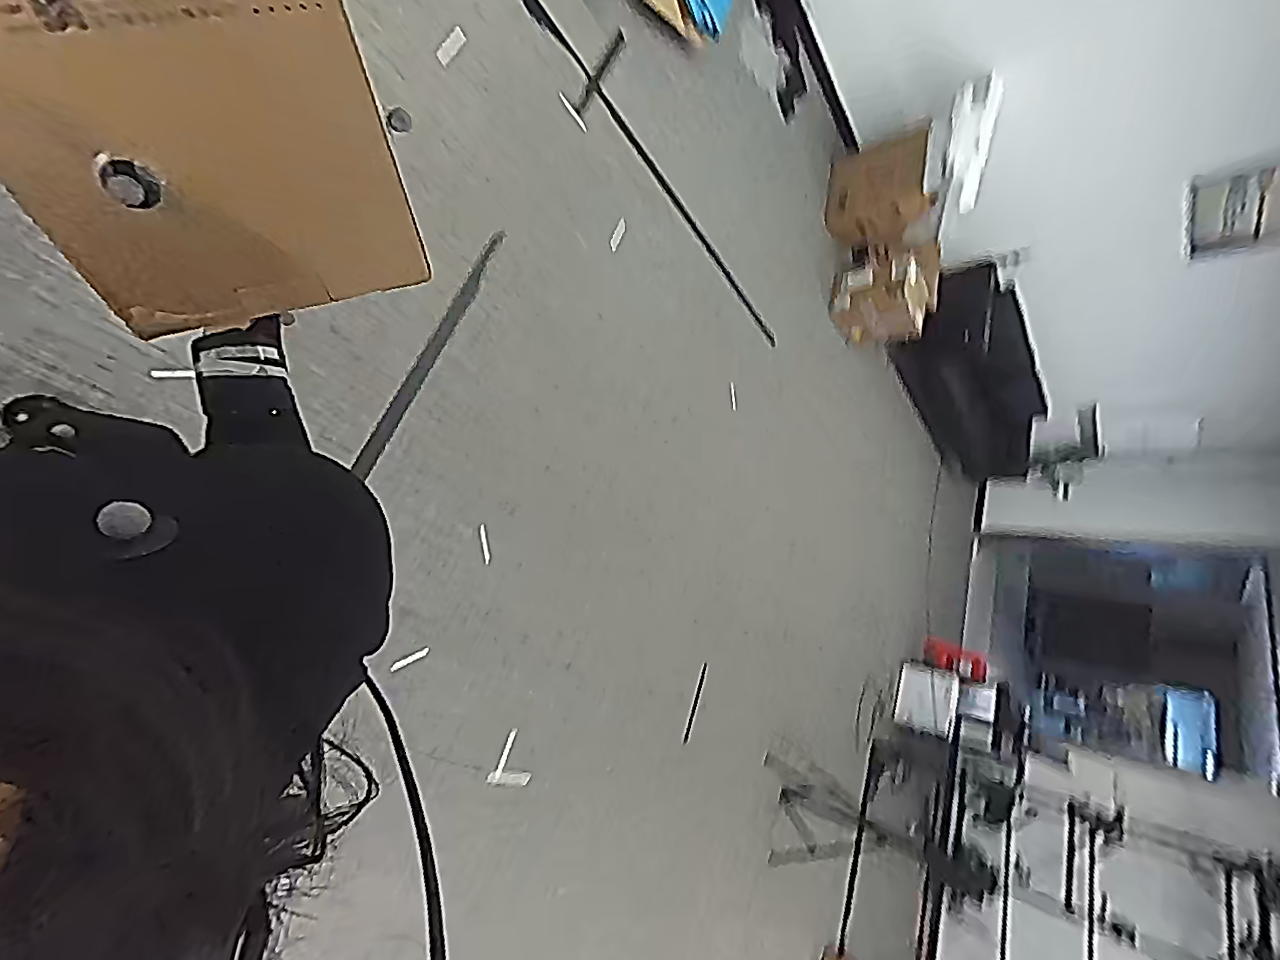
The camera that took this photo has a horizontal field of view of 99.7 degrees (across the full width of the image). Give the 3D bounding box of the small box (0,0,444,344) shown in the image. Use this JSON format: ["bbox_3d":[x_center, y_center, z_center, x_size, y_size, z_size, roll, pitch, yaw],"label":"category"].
[{"bbox_3d":[-0.227,-0.210,0.307,0.168,0.179,0.176,-16,141,-14],"label":"small box"}]
